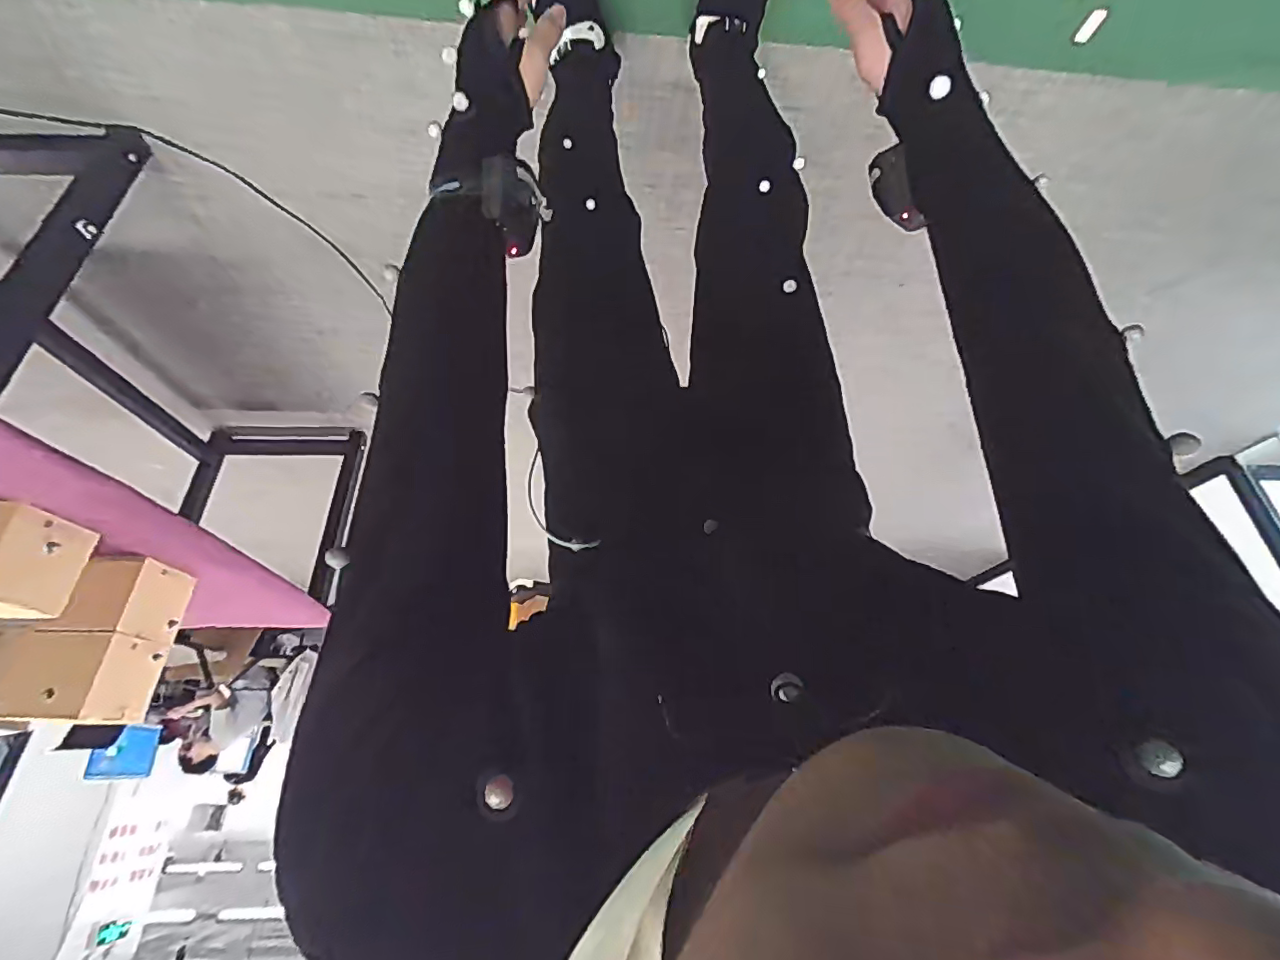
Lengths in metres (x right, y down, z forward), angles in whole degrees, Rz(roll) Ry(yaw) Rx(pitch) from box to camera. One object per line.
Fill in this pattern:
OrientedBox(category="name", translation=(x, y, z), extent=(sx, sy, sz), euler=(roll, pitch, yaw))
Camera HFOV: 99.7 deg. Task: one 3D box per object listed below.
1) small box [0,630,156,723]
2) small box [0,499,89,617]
OrientedBox(category="small box", translation=(-1.174, 0.414, 1.134), extent=(0.179, 0.176, 0.168), euler=(2, 152, -3))
OrientedBox(category="small box", translation=(-1.156, 0.136, 0.952), extent=(0.179, 0.176, 0.168), euler=(2, 153, -3))
